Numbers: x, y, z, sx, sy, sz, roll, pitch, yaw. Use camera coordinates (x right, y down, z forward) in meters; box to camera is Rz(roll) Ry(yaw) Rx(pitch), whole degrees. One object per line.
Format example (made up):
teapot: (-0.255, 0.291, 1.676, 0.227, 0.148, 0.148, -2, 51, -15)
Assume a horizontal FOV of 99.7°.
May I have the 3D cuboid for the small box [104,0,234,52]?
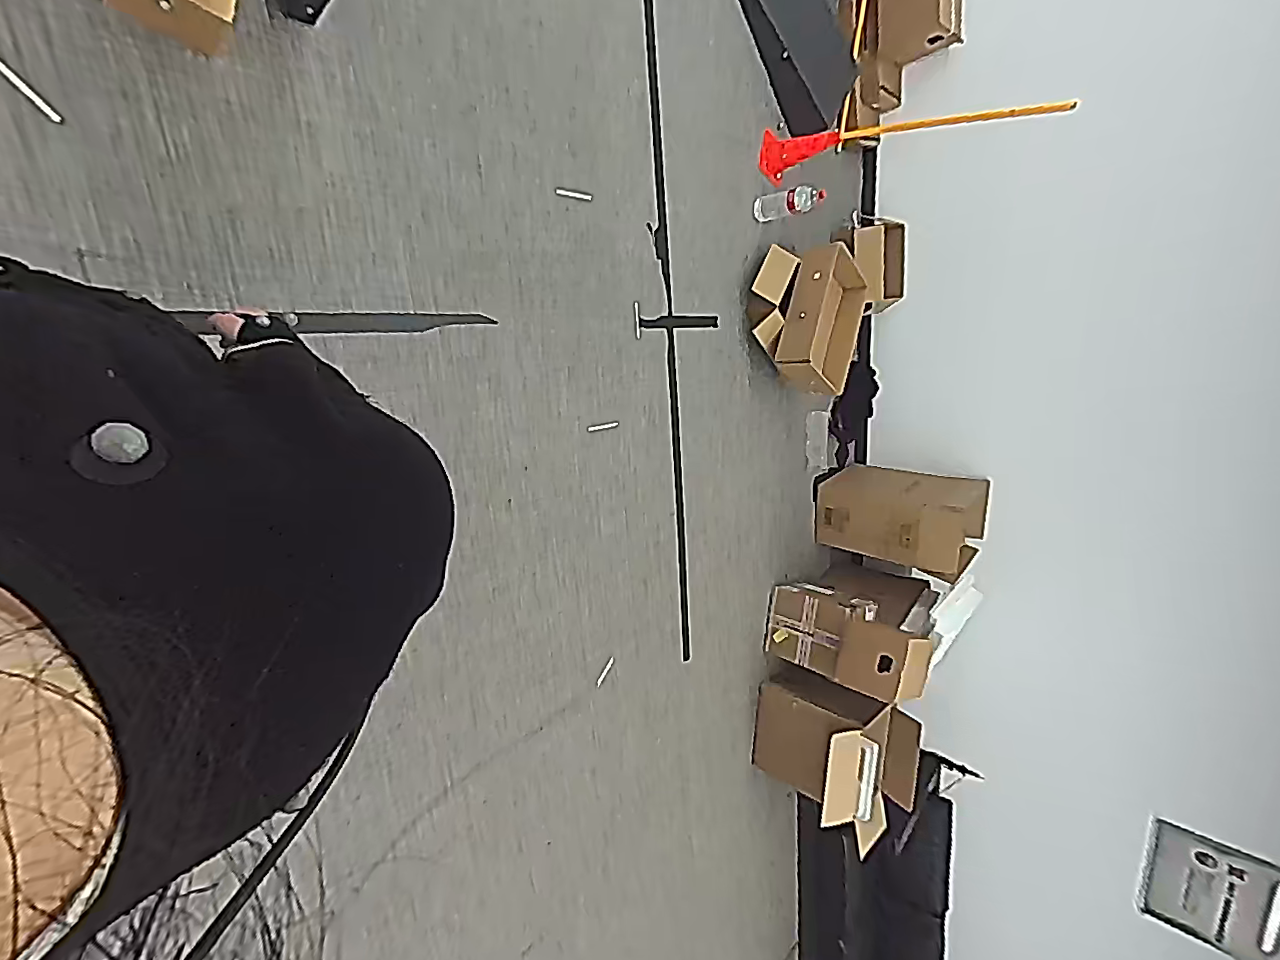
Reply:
small box: (-0.886, -0.960, 1.020, 0.179, 0.176, 0.168, 6, 93, -46)
